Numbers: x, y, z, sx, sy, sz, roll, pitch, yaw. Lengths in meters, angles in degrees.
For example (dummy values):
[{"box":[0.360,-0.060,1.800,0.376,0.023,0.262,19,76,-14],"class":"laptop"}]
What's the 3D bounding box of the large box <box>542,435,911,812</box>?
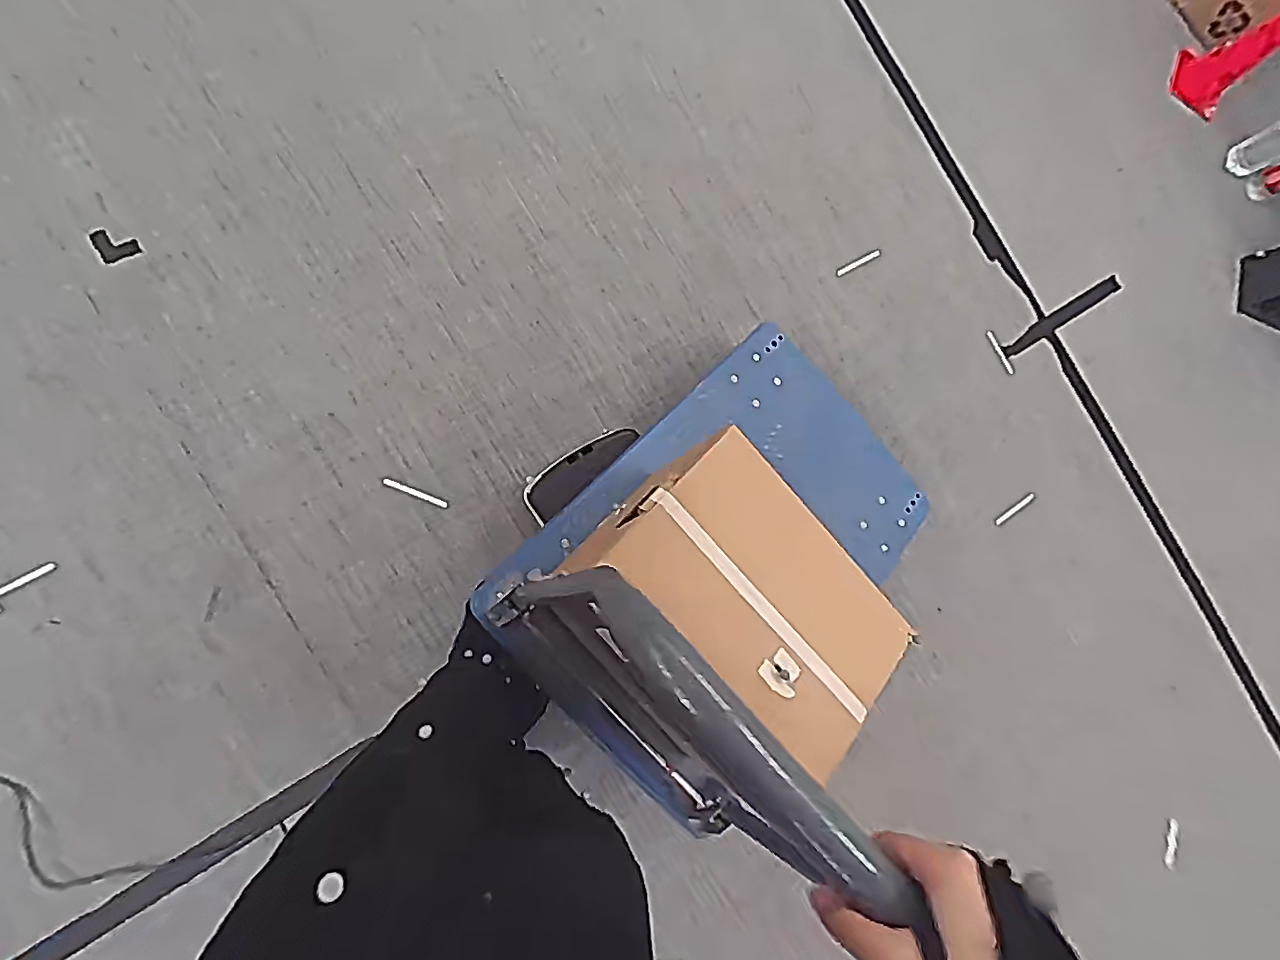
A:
[{"box":[0.113,0.206,0.847,0.408,0.320,0.320,48,66,-5],"class":"large box"}]
